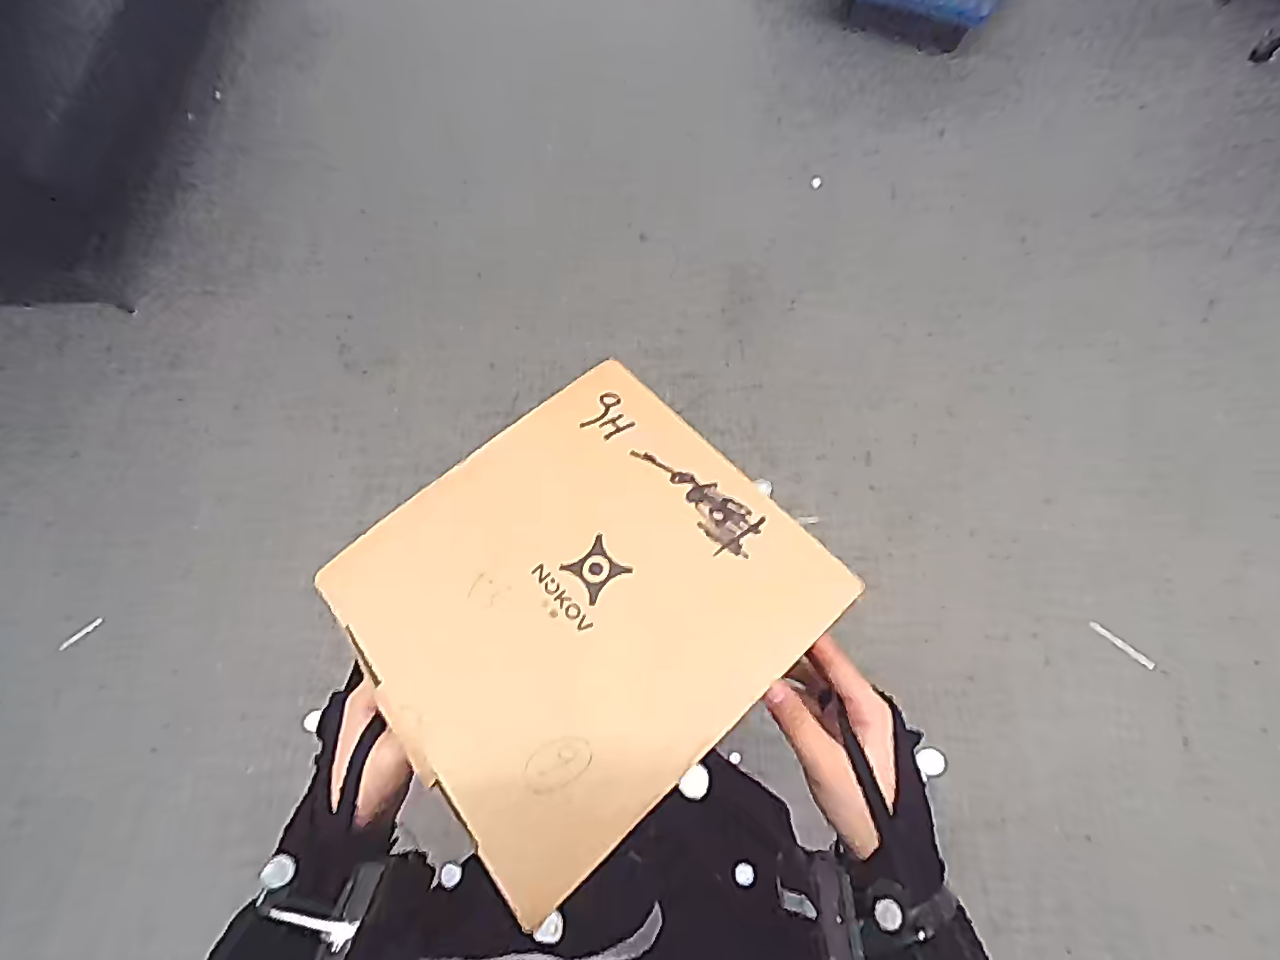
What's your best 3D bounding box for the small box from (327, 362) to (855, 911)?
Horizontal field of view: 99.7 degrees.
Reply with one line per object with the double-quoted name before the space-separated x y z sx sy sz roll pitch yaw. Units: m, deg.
"small box" -0.019 0.078 0.303 0.179 0.176 0.168 -39 67 -14
